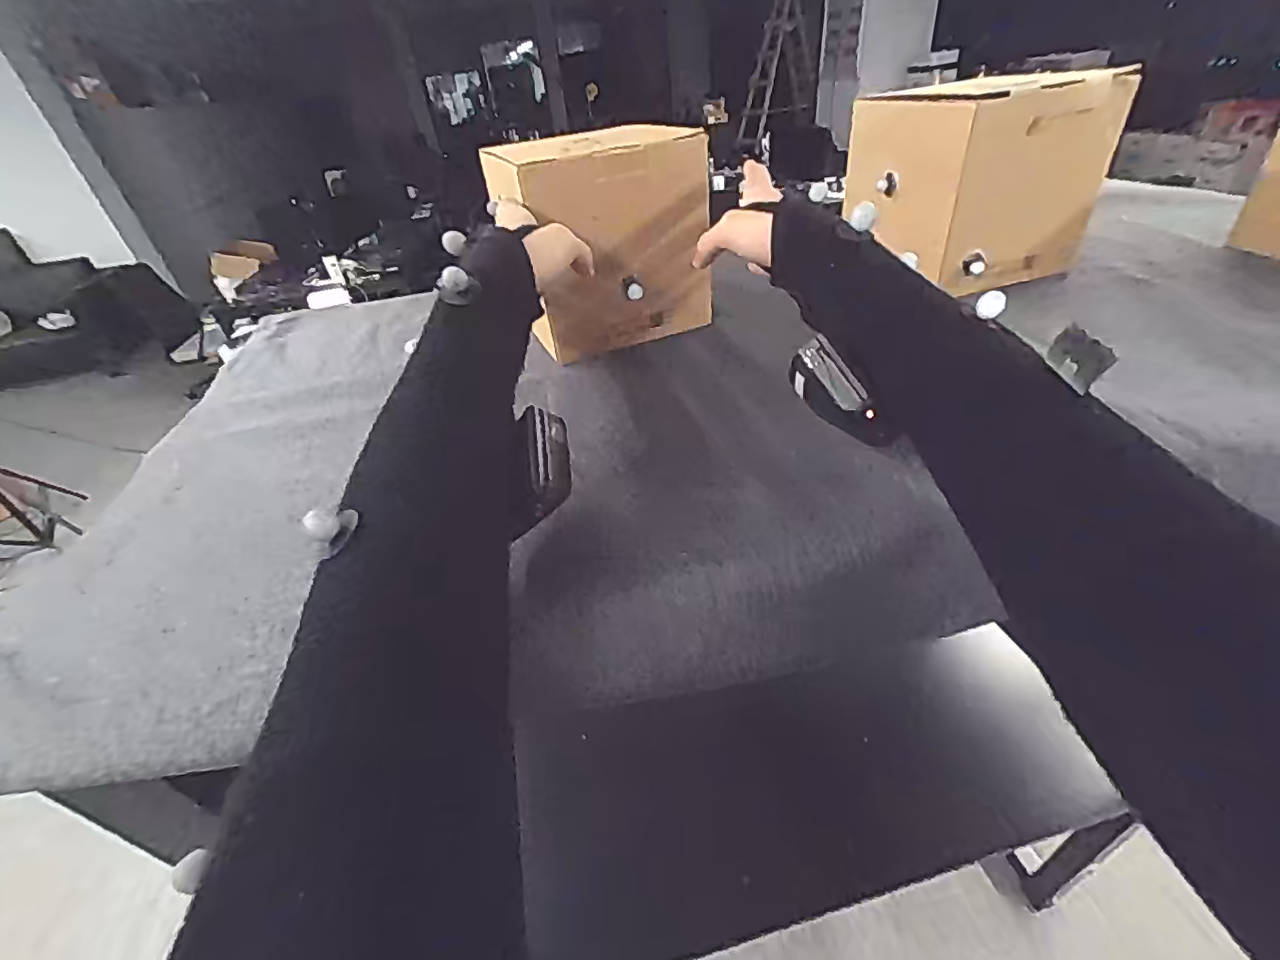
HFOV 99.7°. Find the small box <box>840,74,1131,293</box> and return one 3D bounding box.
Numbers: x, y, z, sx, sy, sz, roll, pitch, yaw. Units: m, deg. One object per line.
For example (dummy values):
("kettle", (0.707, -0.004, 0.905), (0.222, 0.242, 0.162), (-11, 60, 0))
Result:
("small box", (0.333, -0.307, 0.566), (0.168, 0.176, 0.179), (-15, 37, -9))

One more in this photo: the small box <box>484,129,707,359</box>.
("small box", (-0.044, -0.242, 0.546), (0.168, 0.176, 0.179), (-19, 40, -15))

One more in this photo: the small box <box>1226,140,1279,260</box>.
("small box", (0.689, -0.275, 0.460), (0.168, 0.176, 0.179), (-11, 37, -3))
